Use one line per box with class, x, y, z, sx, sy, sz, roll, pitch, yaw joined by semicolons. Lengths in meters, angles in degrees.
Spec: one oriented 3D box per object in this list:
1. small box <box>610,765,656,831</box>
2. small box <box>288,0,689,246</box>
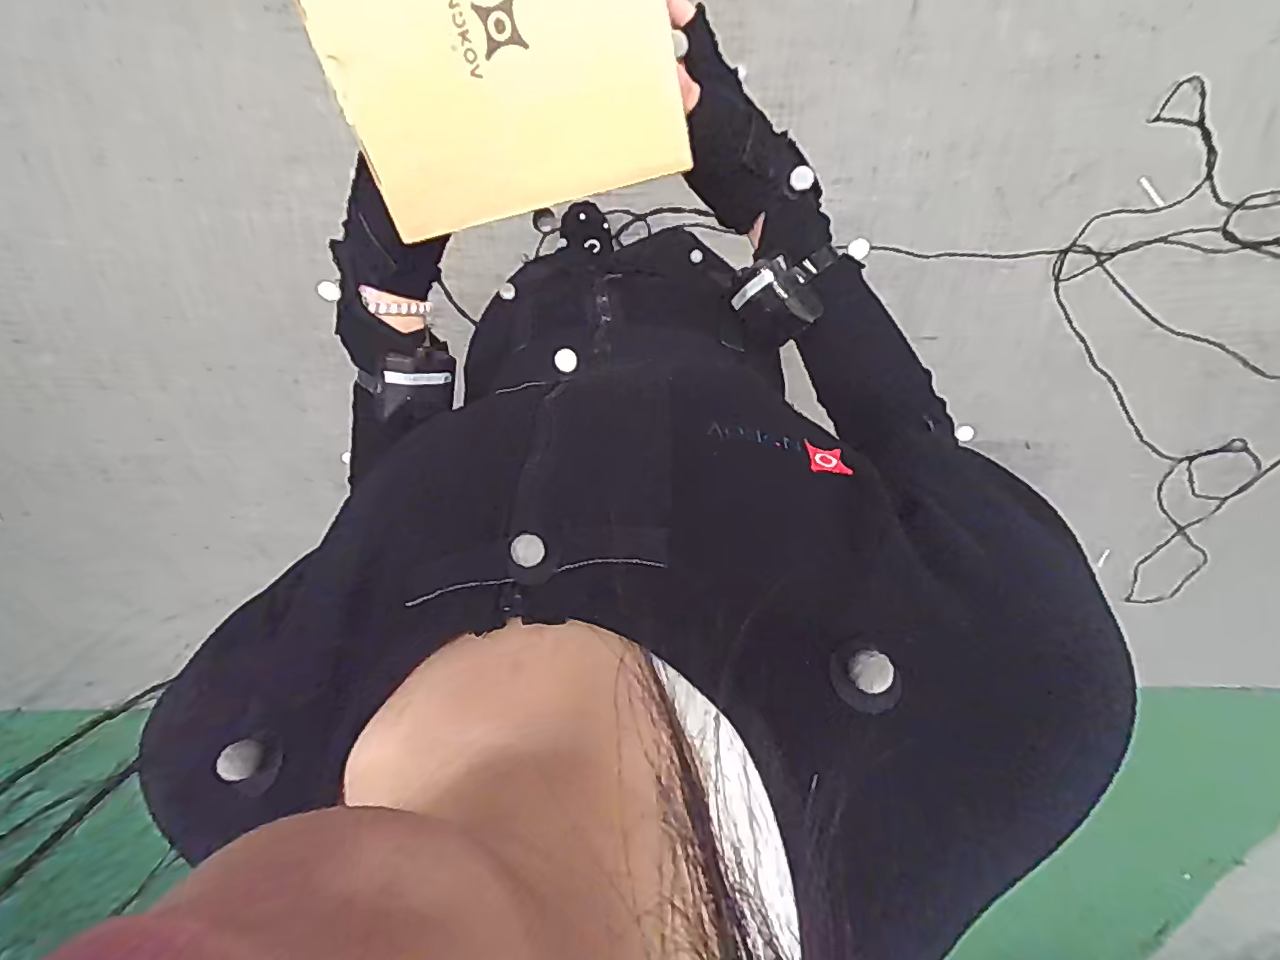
small box;-0.027;1.270;2.164;0.179;0.176;0.168;-4;118;0
small box;-0.077;-0.263;0.328;0.179;0.176;0.168;-11;124;6
